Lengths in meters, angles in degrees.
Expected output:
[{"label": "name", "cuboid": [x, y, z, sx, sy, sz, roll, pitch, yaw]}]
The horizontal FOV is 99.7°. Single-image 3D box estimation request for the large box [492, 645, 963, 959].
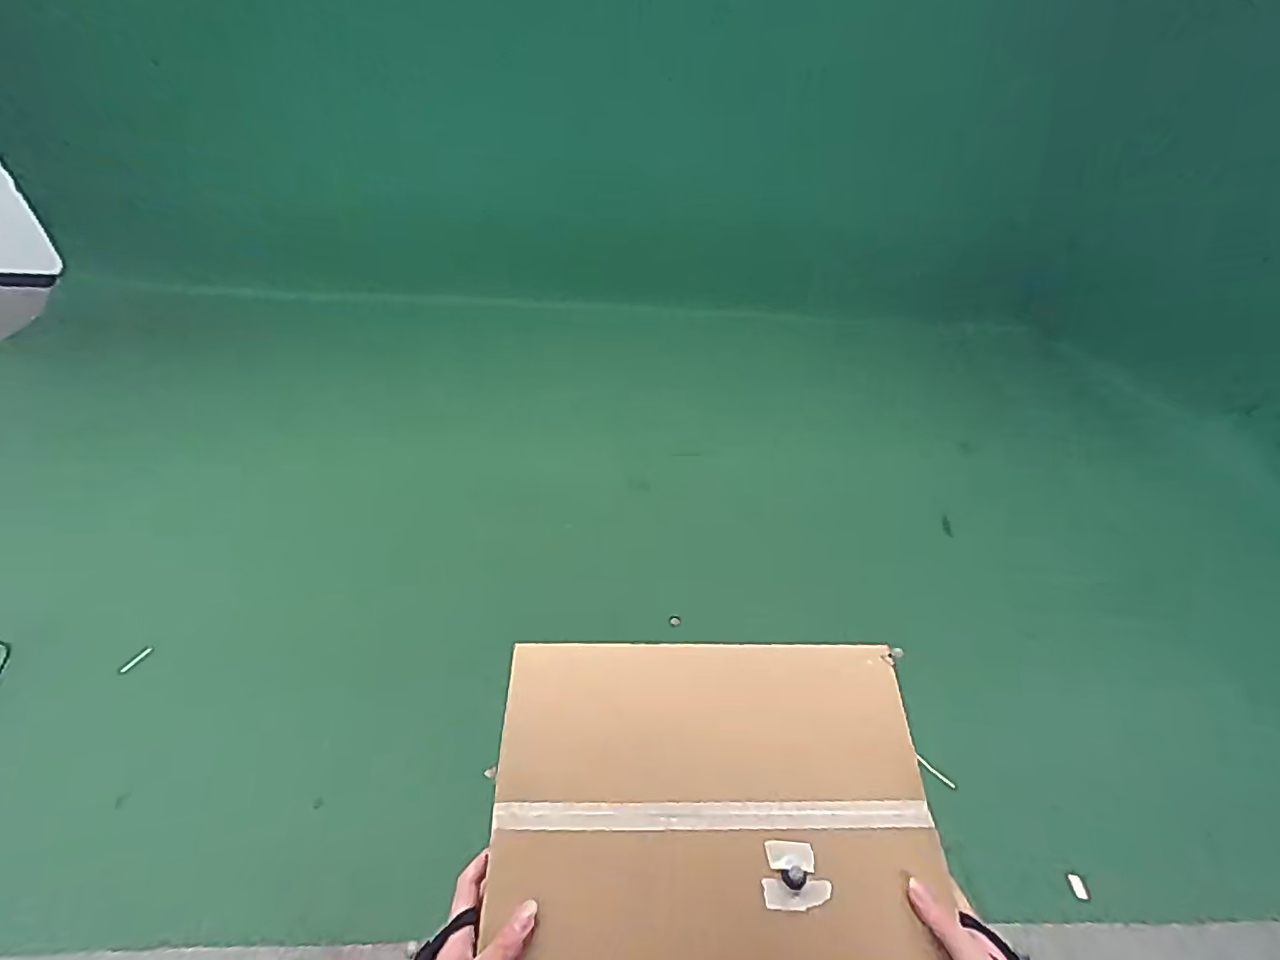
[{"label": "large box", "cuboid": [0.067, 0.394, 0.633, 0.408, 0.320, 0.320, 0, 58, -1]}]
